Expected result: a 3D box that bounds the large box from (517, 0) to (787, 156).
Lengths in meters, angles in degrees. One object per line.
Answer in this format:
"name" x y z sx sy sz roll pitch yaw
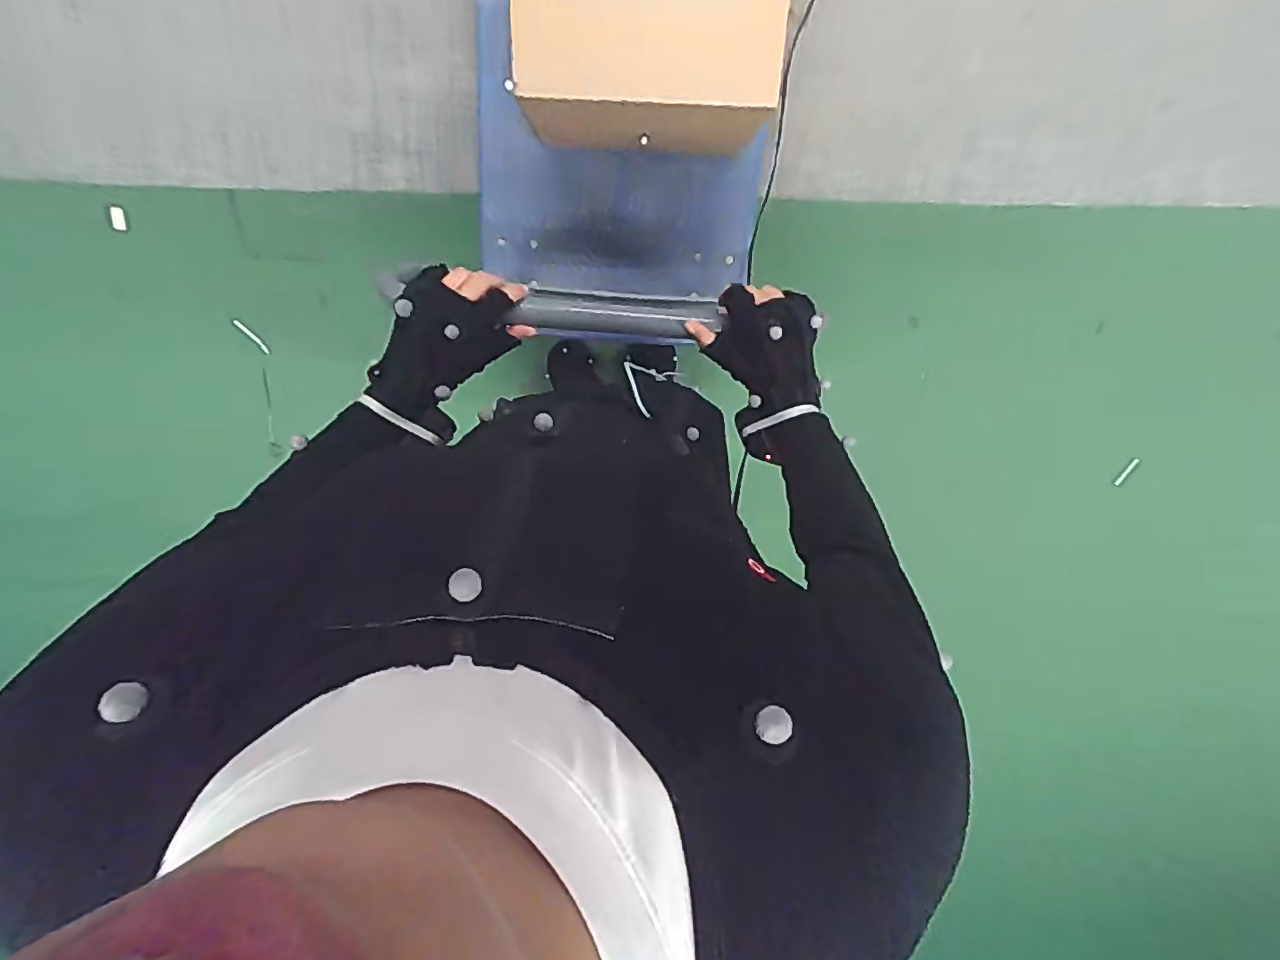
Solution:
"large box" 0.019 -0.765 0.922 0.408 0.320 0.320 2 108 -2
